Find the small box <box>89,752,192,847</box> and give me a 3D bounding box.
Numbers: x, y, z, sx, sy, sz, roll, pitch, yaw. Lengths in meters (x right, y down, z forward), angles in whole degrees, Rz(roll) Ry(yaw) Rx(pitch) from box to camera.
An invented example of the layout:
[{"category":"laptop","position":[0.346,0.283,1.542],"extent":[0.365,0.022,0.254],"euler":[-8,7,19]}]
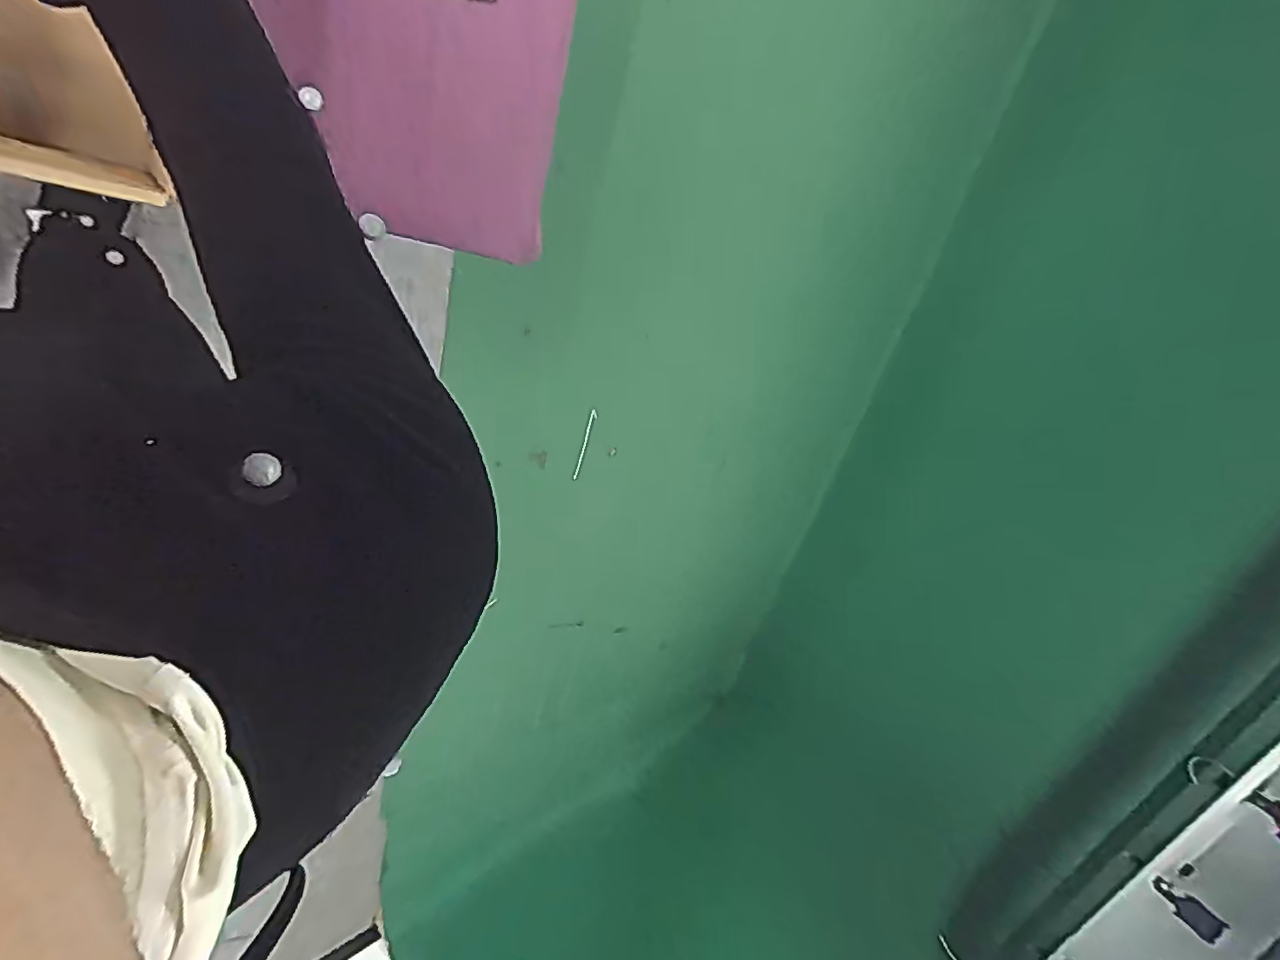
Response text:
[{"category":"small box","position":[-1.495,0.951,1.620],"extent":[0.179,0.176,0.168],"euler":[-52,143,-2]}]
